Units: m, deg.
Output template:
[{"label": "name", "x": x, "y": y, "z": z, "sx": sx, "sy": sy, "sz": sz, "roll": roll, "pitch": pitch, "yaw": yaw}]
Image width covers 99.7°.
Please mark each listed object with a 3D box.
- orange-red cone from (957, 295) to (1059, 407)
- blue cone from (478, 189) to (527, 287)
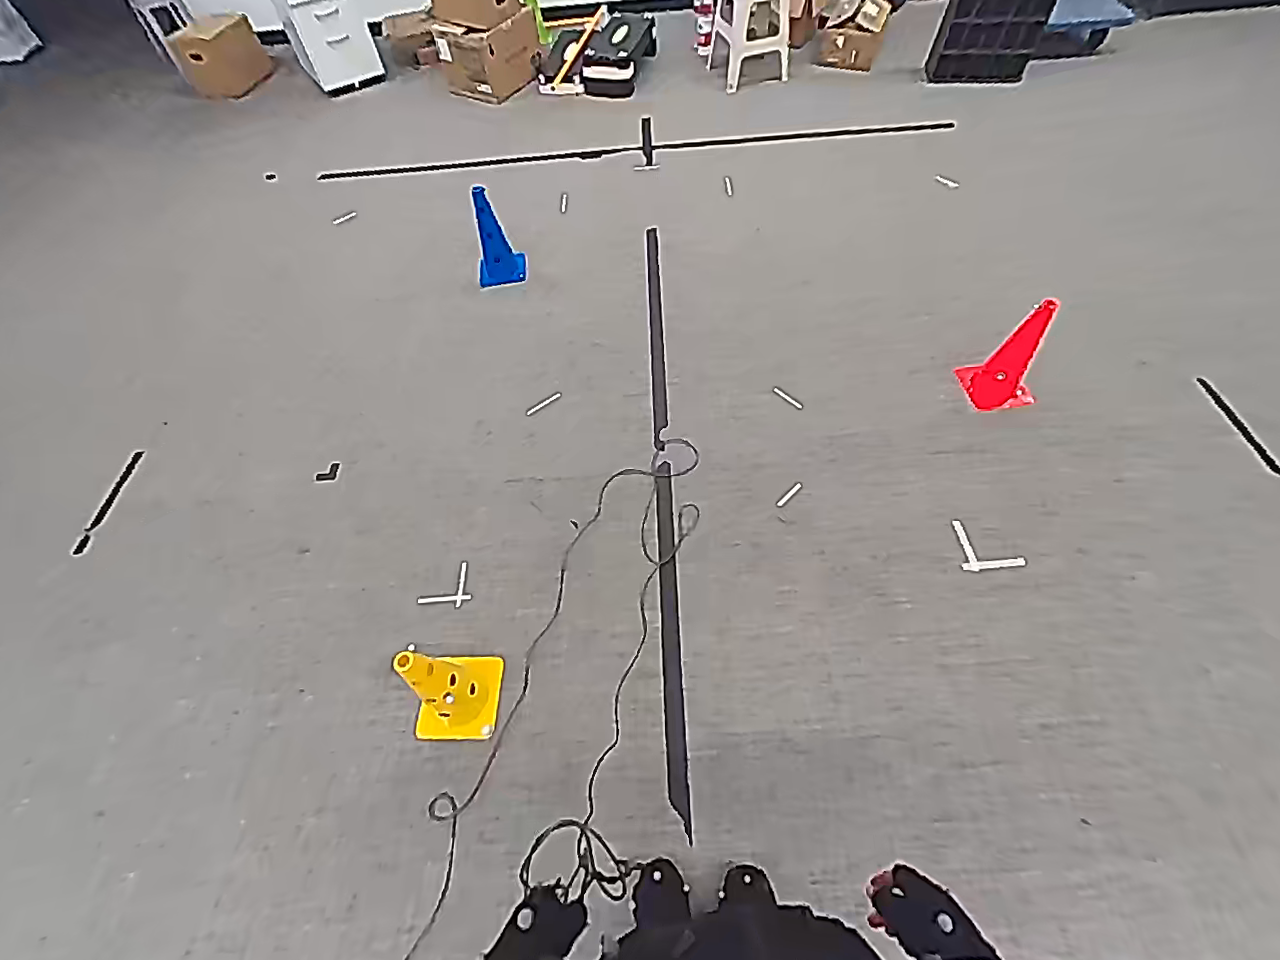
[{"label": "orange-red cone", "x": 1.197, "y": -0.423, "z": 1.703, "sx": 0.198, "sy": 0.360, "sz": 0.199, "roll": -7, "pitch": 55, "yaw": -1}, {"label": "blue cone", "x": -0.600, "y": -1.001, "z": 2.221, "sx": 0.192, "sy": 0.380, "sz": 0.193, "roll": -8, "pitch": 56, "yaw": -1}]
